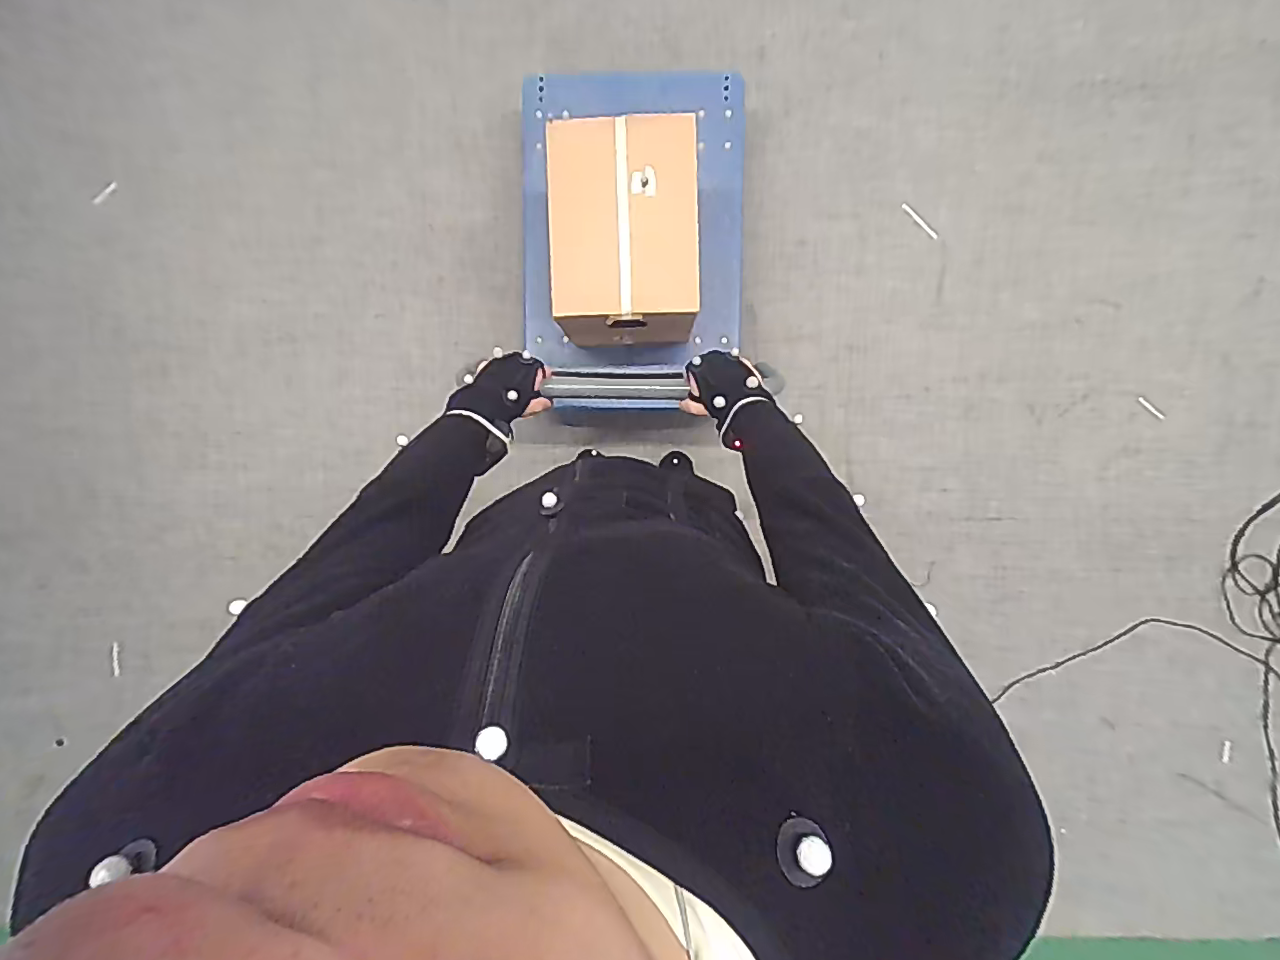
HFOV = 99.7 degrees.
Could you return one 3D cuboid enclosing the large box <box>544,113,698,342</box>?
[{"bbox_3d":[-0.034,-0.563,1.280,0.320,0.320,0.408,-2,94,1],"label":"large box"}]
